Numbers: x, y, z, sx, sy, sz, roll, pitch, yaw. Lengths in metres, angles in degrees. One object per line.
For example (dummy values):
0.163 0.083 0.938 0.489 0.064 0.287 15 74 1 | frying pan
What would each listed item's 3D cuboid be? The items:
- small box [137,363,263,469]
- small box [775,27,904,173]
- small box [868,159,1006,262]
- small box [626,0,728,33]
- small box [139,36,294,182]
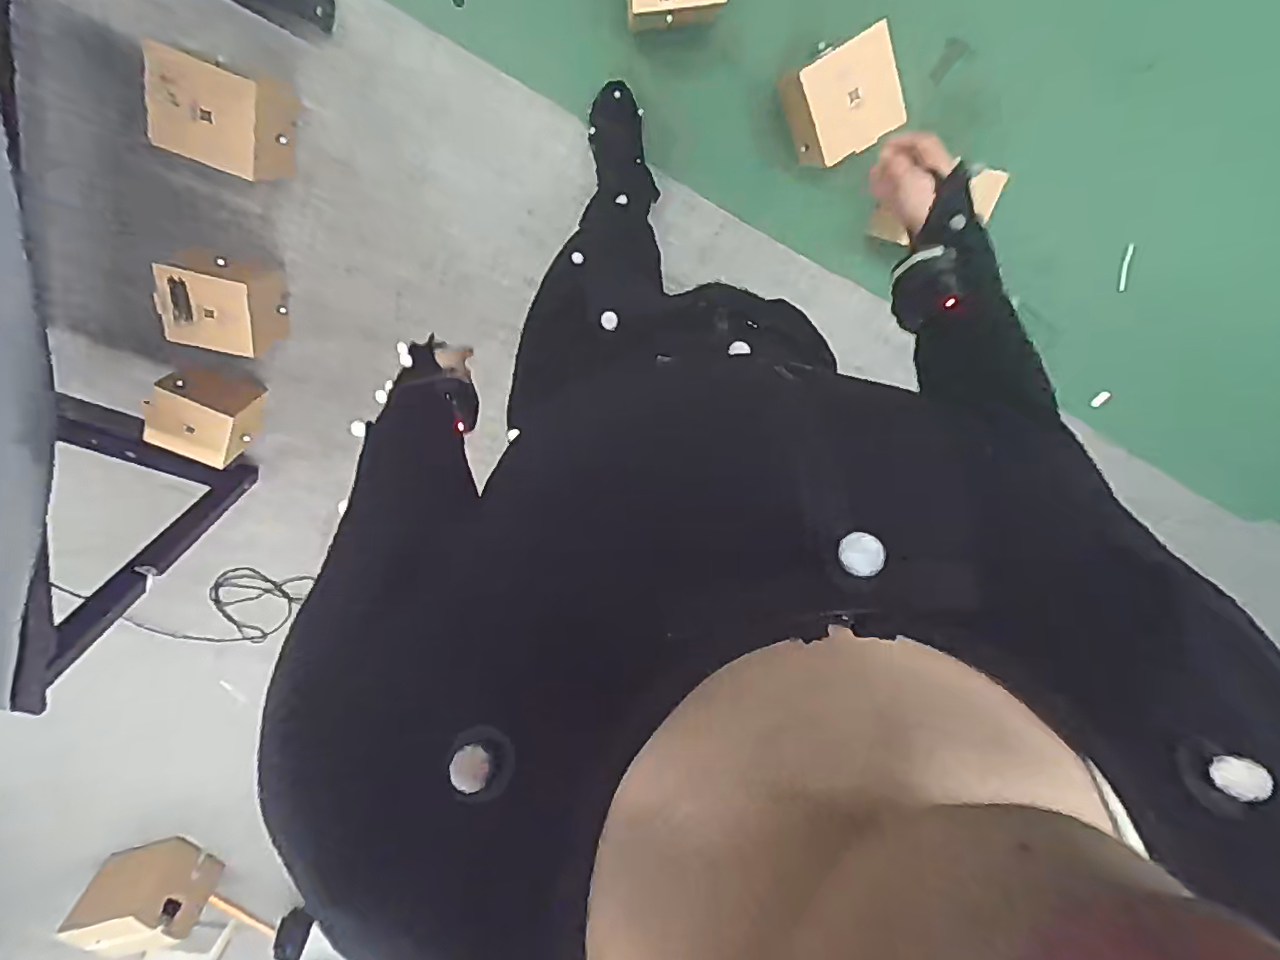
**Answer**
-1.076 -0.163 1.334 0.179 0.176 0.168 26 117 -18 | small box
0.391 -0.744 1.074 0.168 0.176 0.179 -27 119 11 | small box
0.635 -0.594 1.186 0.179 0.176 0.168 7 121 -10 | small box
0.056 -0.913 0.943 0.168 0.176 0.179 -6 122 -1 | small box
-0.784 -0.690 1.020 0.179 0.176 0.168 17 119 -15 | small box
